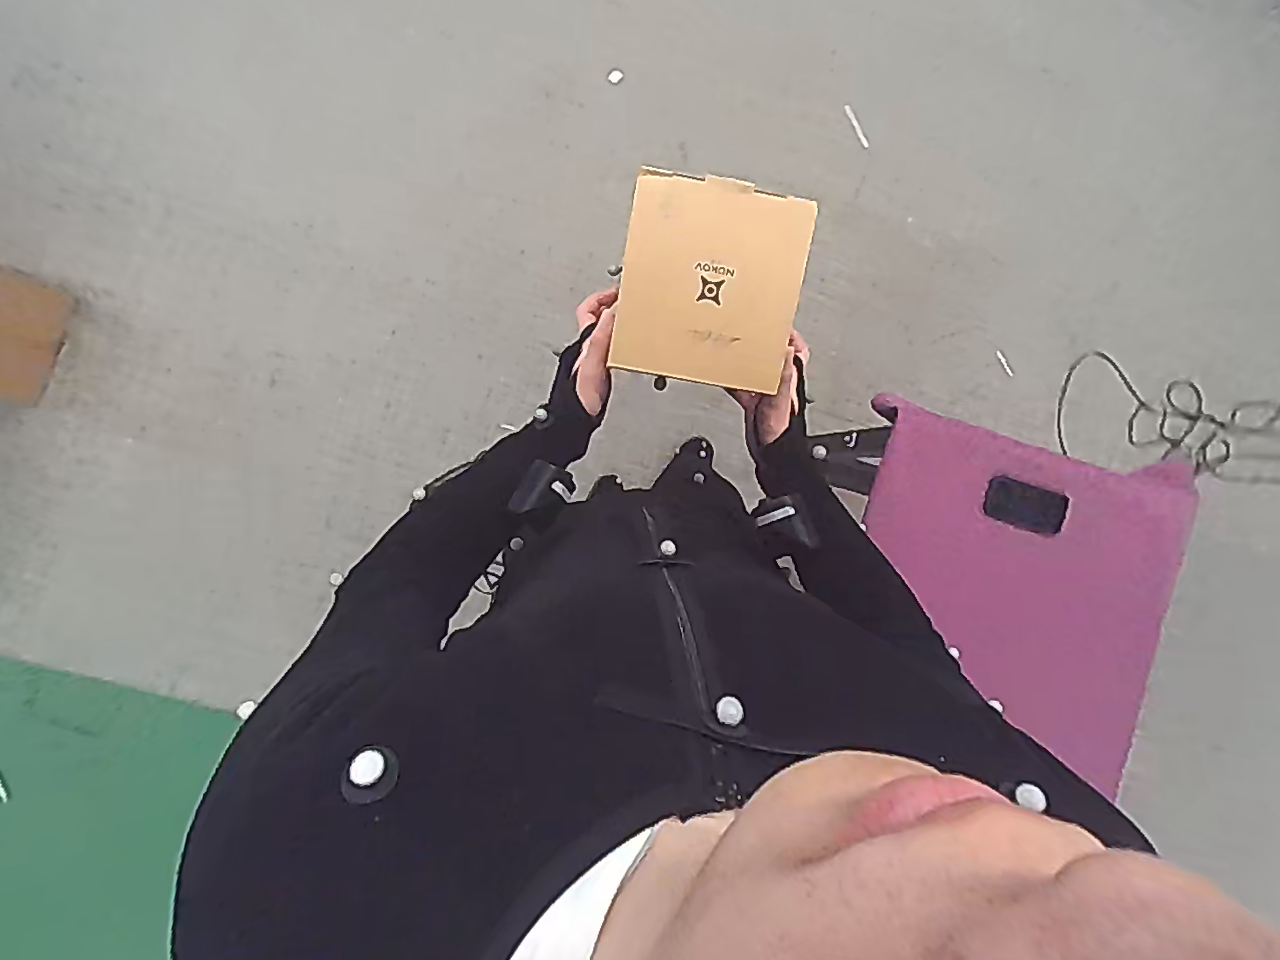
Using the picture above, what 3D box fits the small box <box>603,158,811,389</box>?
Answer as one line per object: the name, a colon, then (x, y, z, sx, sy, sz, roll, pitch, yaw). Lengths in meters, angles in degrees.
small box: (0.055, -0.199, 0.565, 0.168, 0.176, 0.179, 9, 102, -4)
